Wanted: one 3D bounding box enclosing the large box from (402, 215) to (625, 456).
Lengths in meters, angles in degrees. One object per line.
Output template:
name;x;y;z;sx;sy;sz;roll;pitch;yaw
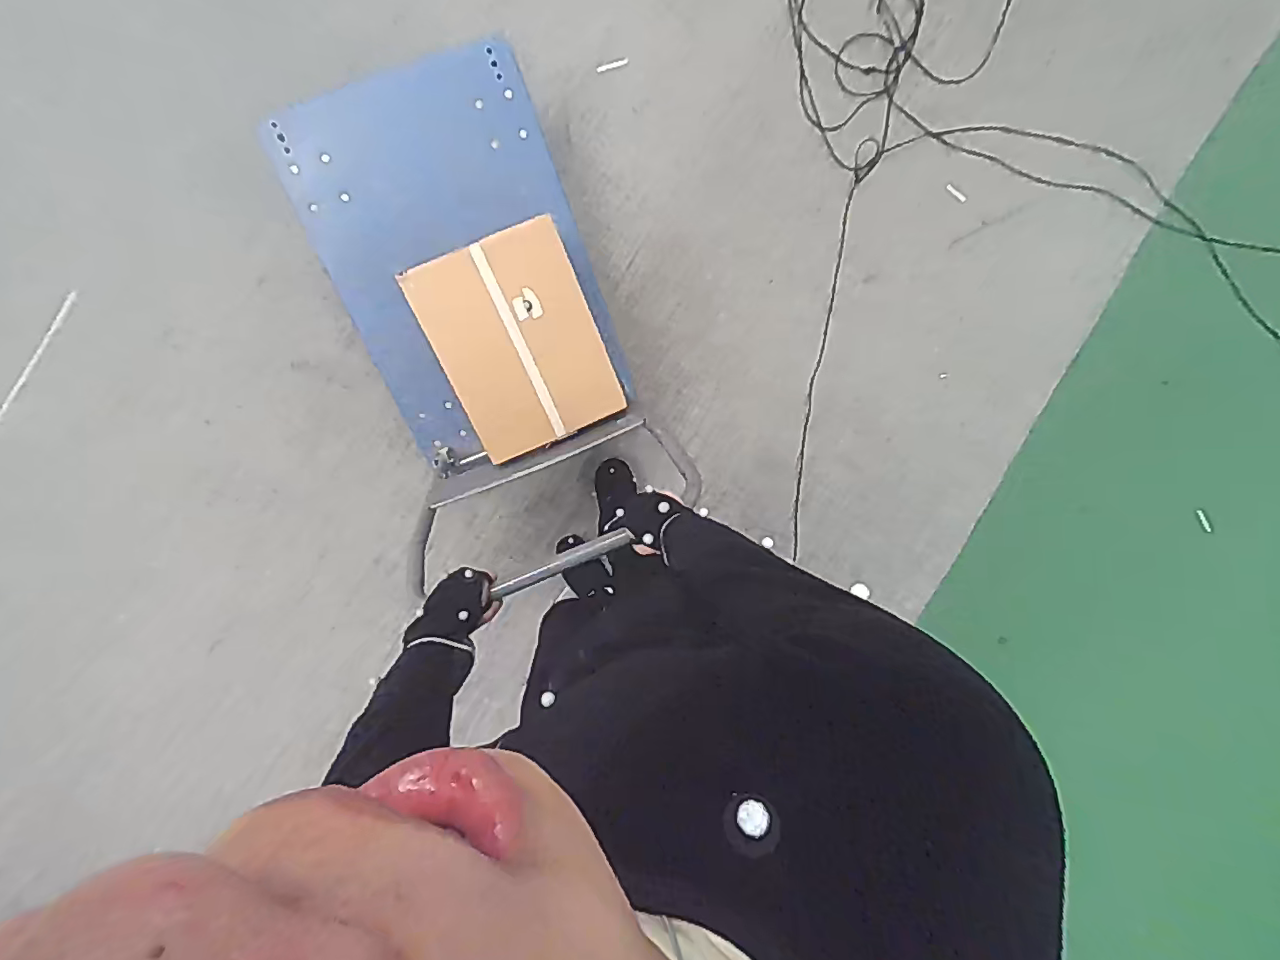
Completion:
large box;-0.268;-0.323;1.238;0.320;0.320;0.408;-24;110;-4
